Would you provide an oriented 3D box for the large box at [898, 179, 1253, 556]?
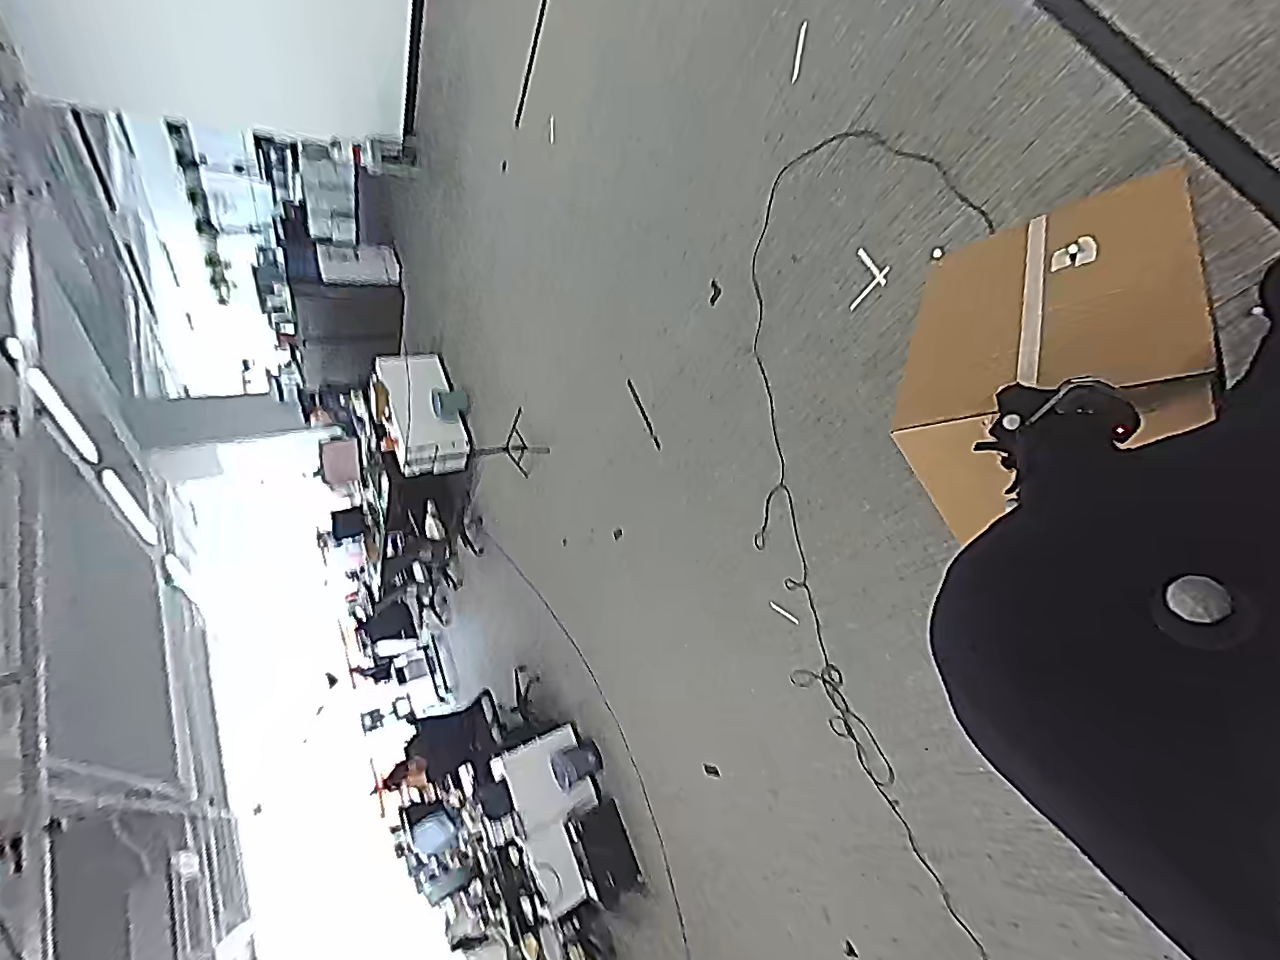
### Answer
[{"bbox_3d":[0.632,-0.139,0.803,0.320,0.408,0.320,-11,132,49],"label":"large box"}]
